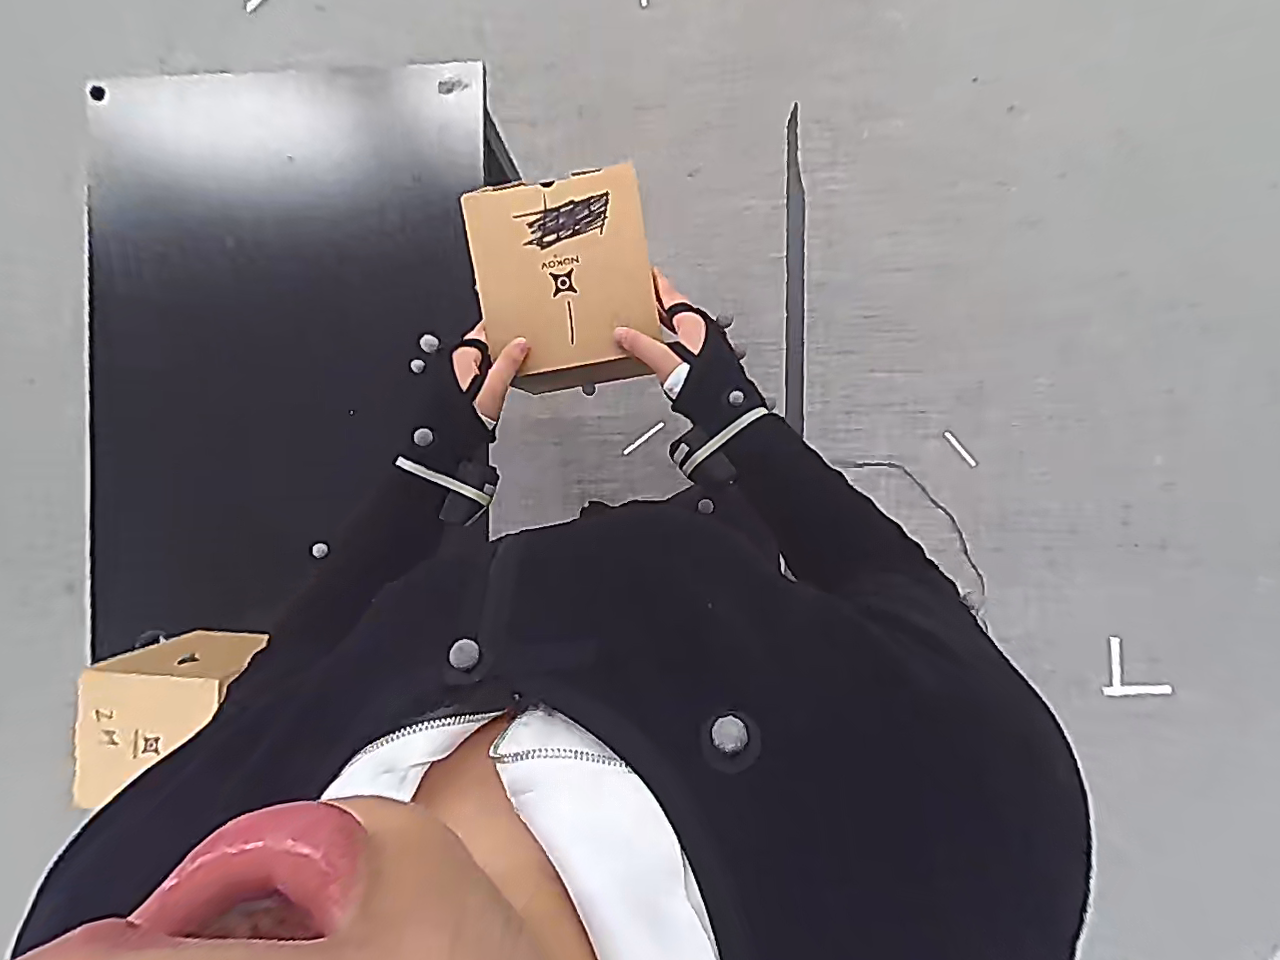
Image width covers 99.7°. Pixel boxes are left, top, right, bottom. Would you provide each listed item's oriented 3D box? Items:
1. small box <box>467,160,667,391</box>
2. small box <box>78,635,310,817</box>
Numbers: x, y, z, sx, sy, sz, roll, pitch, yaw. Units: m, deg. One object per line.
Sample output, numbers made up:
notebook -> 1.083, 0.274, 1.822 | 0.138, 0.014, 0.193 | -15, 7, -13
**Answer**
small box -> -0.066, -0.201, 0.582 | 0.168, 0.176, 0.179 | -9, 94, 3
small box -> -0.573, 0.311, 0.717 | 0.179, 0.176, 0.168 | 2, 89, 3
